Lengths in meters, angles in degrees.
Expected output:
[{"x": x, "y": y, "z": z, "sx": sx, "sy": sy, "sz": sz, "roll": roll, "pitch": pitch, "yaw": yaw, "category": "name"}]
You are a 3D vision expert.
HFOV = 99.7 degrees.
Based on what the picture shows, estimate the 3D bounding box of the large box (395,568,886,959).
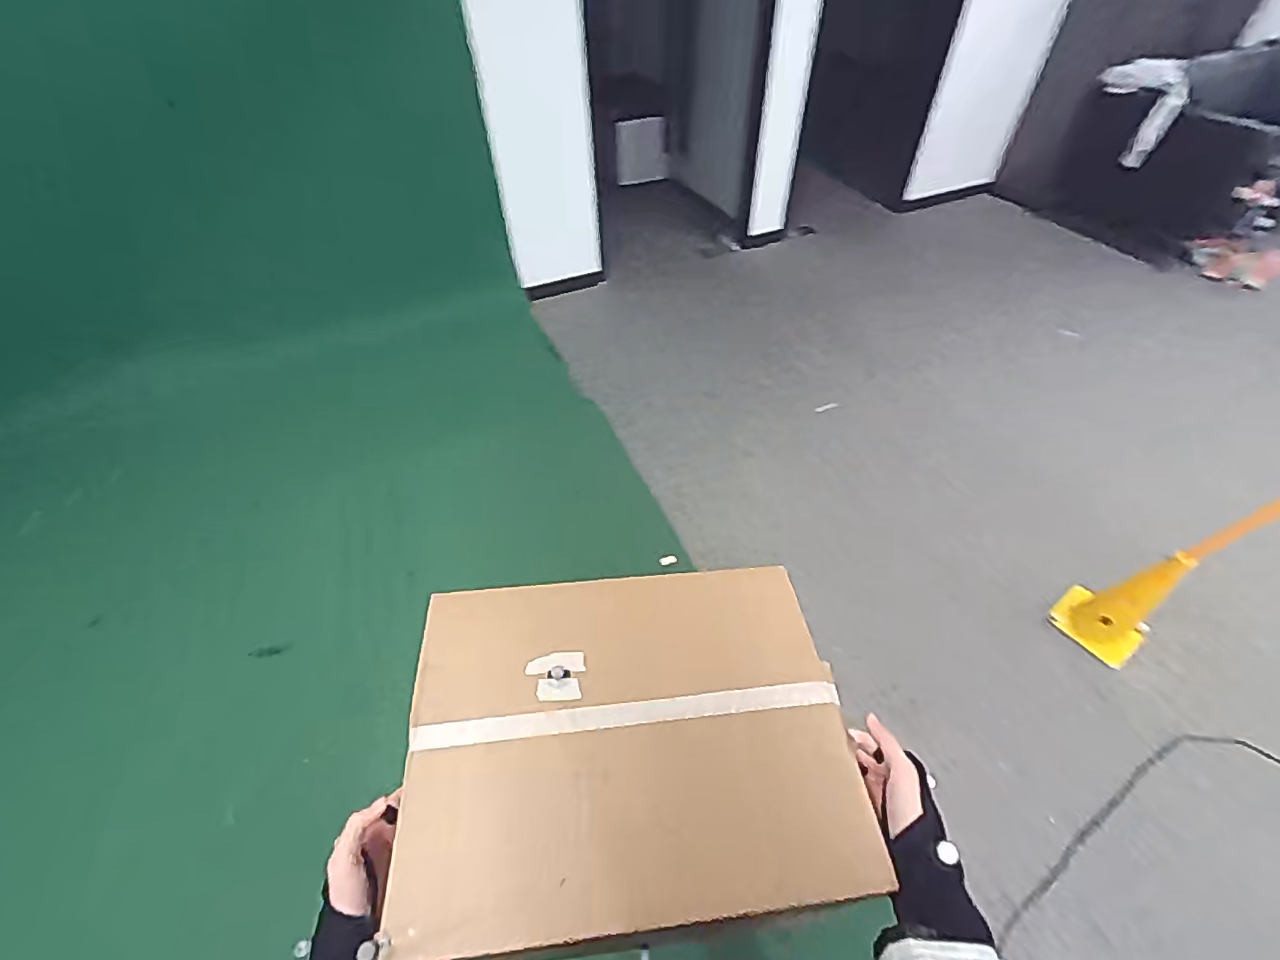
[{"x": -0.008, "y": 0.331, "z": 0.636, "sx": 0.408, "sy": 0.320, "sz": 0.320, "roll": -4, "pitch": 48, "yaw": -5, "category": "large box"}]
